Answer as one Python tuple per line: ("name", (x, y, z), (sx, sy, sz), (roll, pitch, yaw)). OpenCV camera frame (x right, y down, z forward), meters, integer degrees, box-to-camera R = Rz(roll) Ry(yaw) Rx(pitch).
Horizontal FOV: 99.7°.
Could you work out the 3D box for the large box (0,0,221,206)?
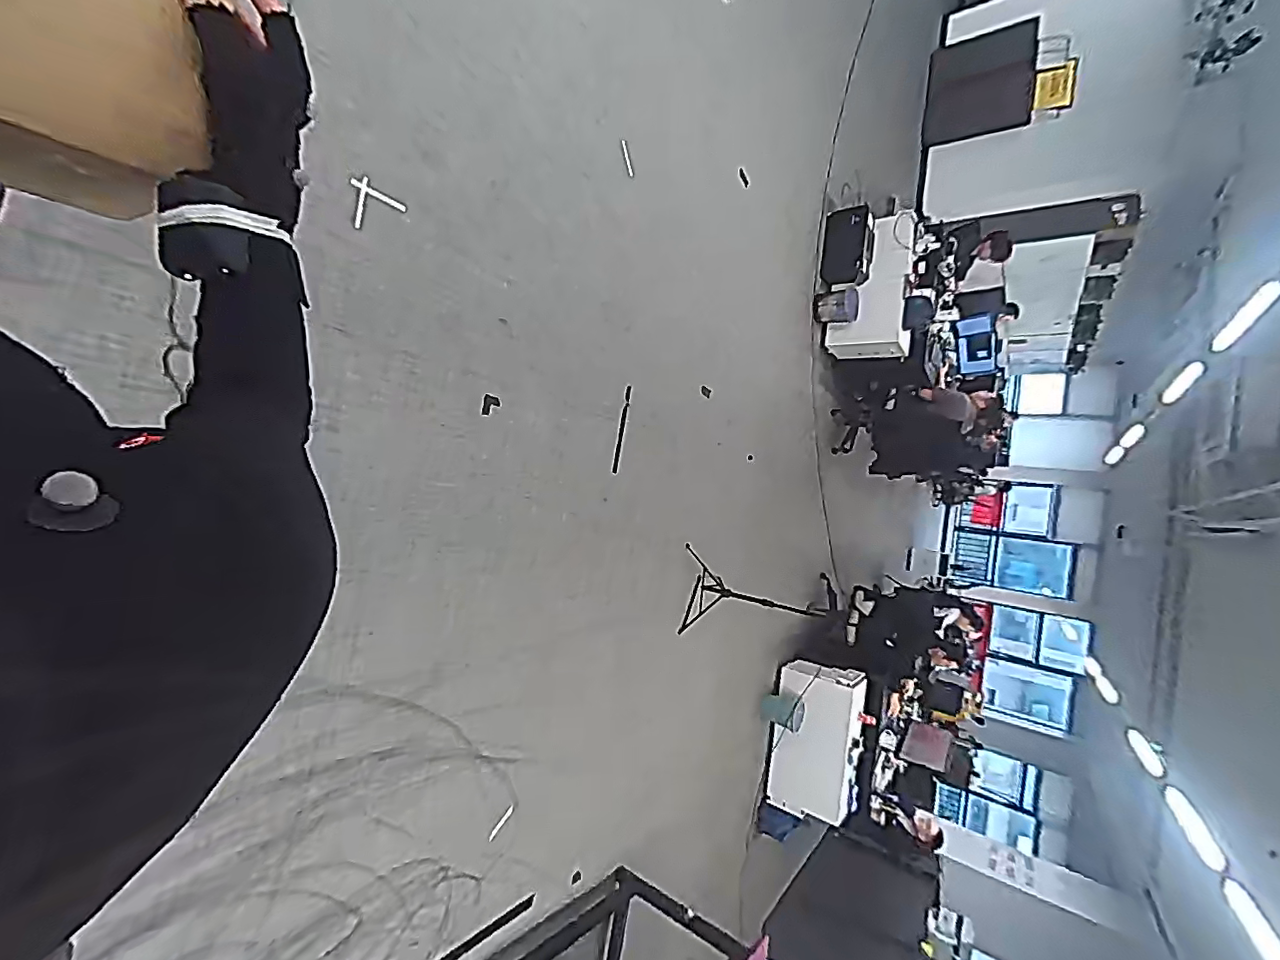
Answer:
("large box", (-0.557, -0.423, 0.345), (0.408, 0.320, 0.320), (3, 101, -53))
